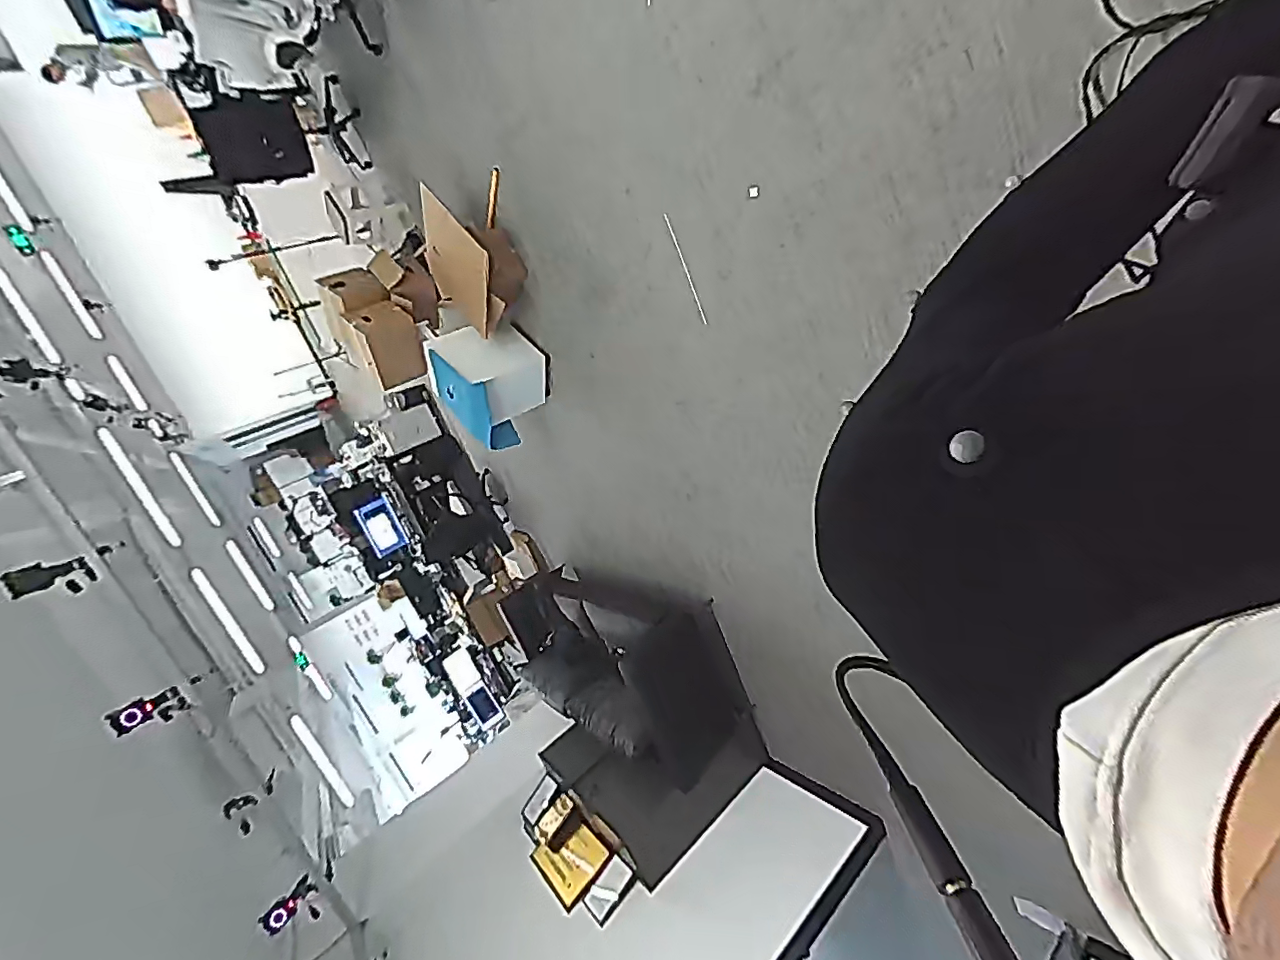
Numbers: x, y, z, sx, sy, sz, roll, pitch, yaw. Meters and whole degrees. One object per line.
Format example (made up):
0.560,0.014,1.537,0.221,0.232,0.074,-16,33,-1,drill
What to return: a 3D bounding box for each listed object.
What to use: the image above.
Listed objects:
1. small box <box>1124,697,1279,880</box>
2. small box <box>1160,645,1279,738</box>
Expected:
0.960,0.506,0.919,0.168,0.176,0.179,2,117,56,small box
1.092,0.443,0.996,0.168,0.176,0.179,10,122,54,small box
